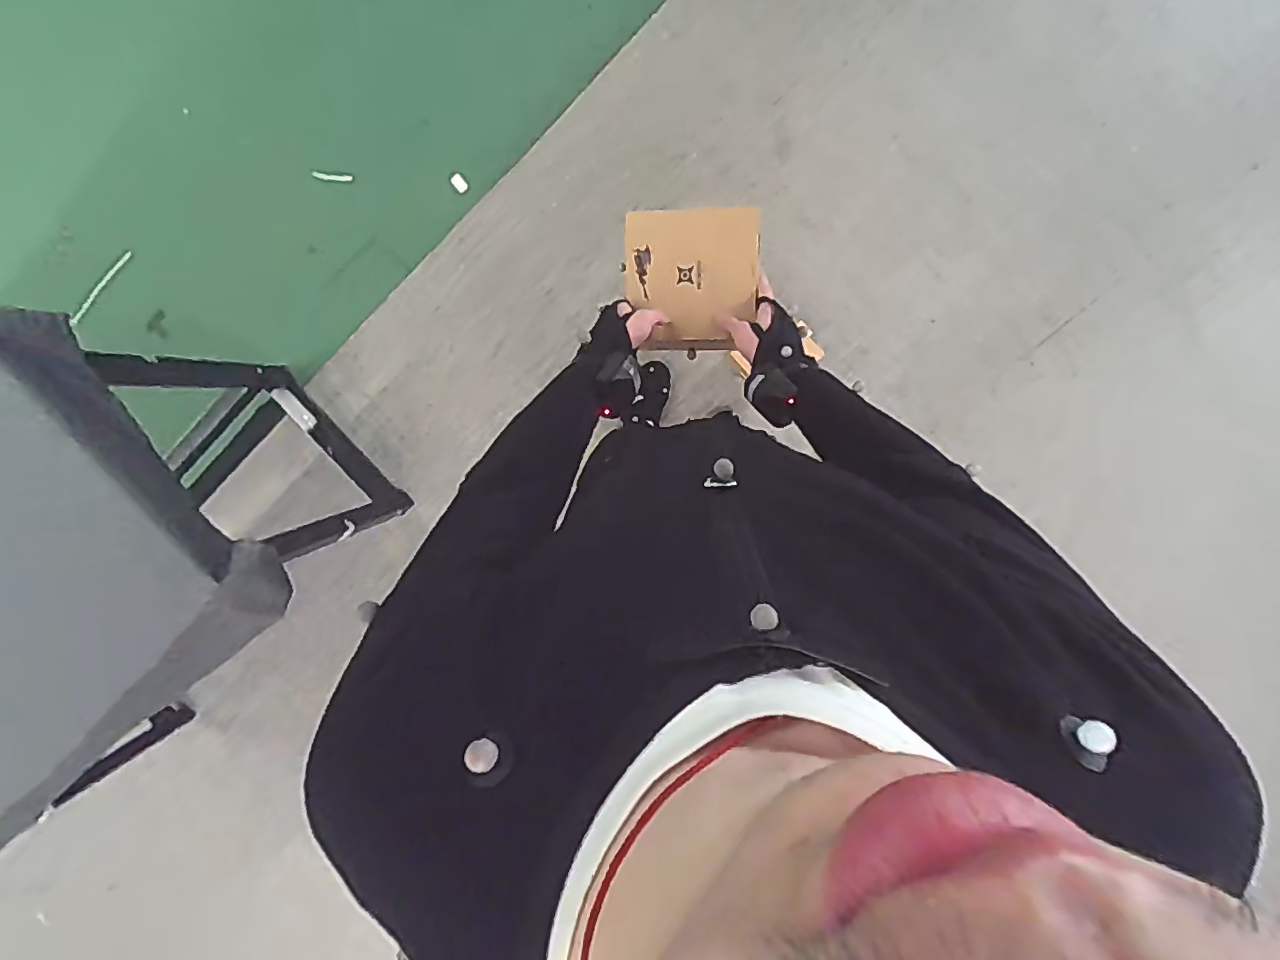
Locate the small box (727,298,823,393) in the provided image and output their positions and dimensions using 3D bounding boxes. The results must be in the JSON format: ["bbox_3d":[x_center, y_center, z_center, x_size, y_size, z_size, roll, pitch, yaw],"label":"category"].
[{"bbox_3d":[0.342,-0.344,1.412,0.179,0.176,0.168,-39,92,10],"label":"small box"}]

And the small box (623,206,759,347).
[{"bbox_3d":[0.069,-0.285,0.785,0.179,0.176,0.168,1,100,4],"label":"small box"}]
